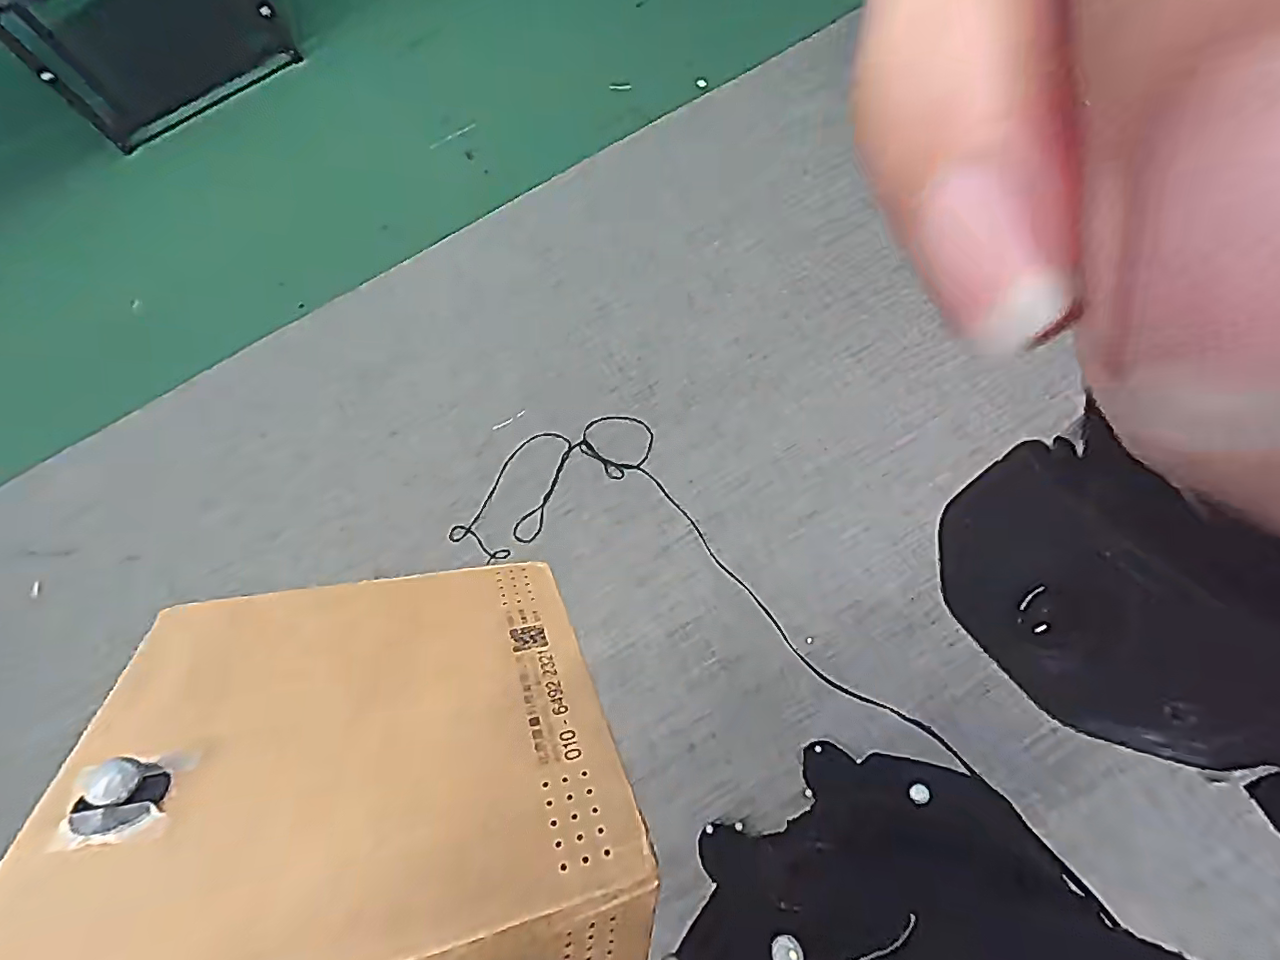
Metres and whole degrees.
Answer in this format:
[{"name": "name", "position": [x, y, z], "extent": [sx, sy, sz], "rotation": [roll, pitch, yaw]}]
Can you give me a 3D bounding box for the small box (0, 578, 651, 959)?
[{"name": "small box", "position": [-0.102, 0.165, 0.234], "extent": [0.176, 0.179, 0.168], "rotation": [-5, 27, -20]}]
